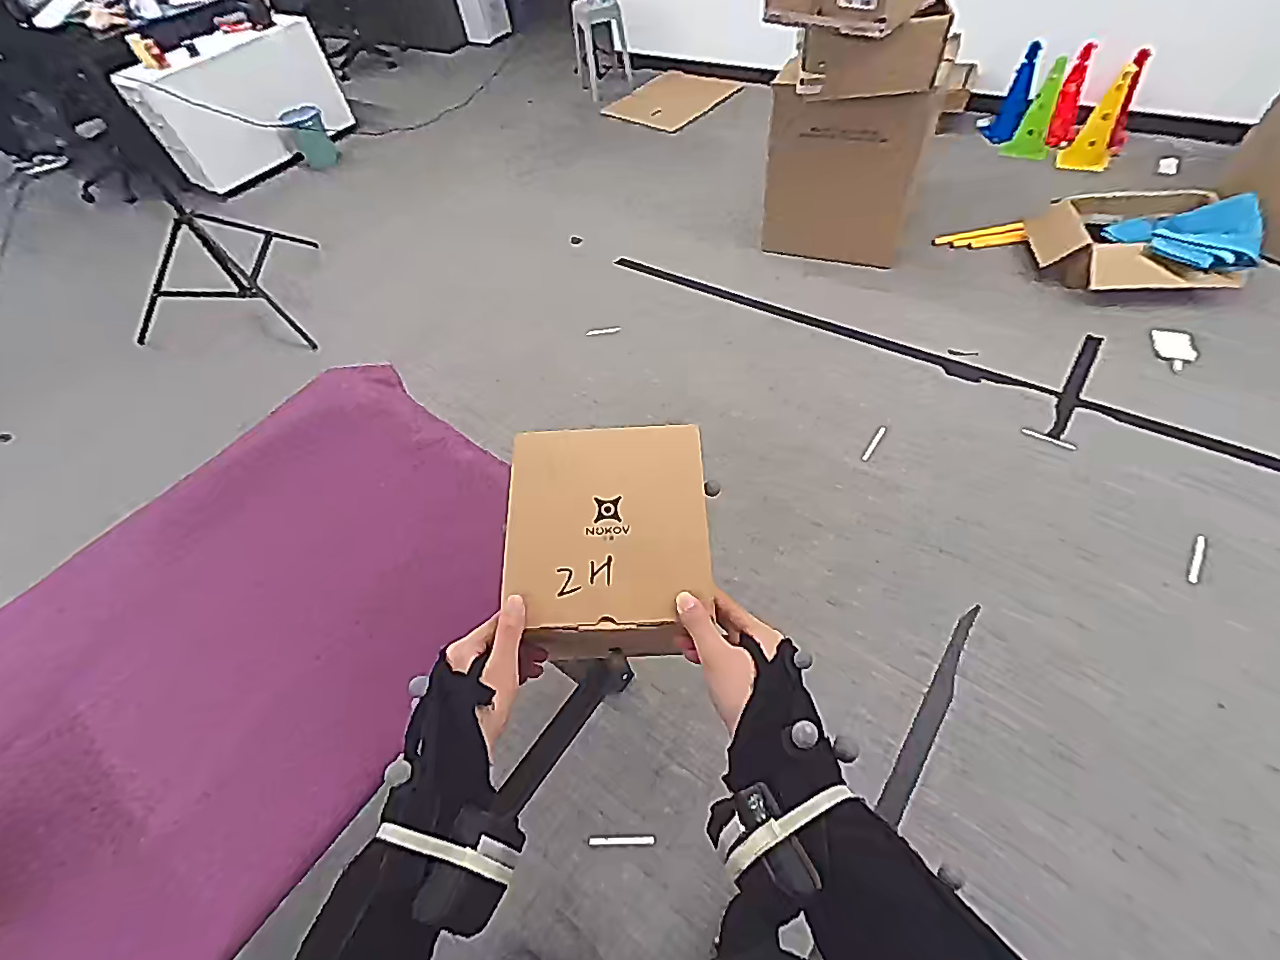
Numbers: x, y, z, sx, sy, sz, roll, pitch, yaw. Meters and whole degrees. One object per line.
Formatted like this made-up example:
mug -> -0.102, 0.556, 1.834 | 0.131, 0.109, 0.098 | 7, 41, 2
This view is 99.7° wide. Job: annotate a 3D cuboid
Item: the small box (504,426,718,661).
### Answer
small box -> -0.020, 0.068, 0.515 | 0.168, 0.176, 0.179 | -3, 64, 2
